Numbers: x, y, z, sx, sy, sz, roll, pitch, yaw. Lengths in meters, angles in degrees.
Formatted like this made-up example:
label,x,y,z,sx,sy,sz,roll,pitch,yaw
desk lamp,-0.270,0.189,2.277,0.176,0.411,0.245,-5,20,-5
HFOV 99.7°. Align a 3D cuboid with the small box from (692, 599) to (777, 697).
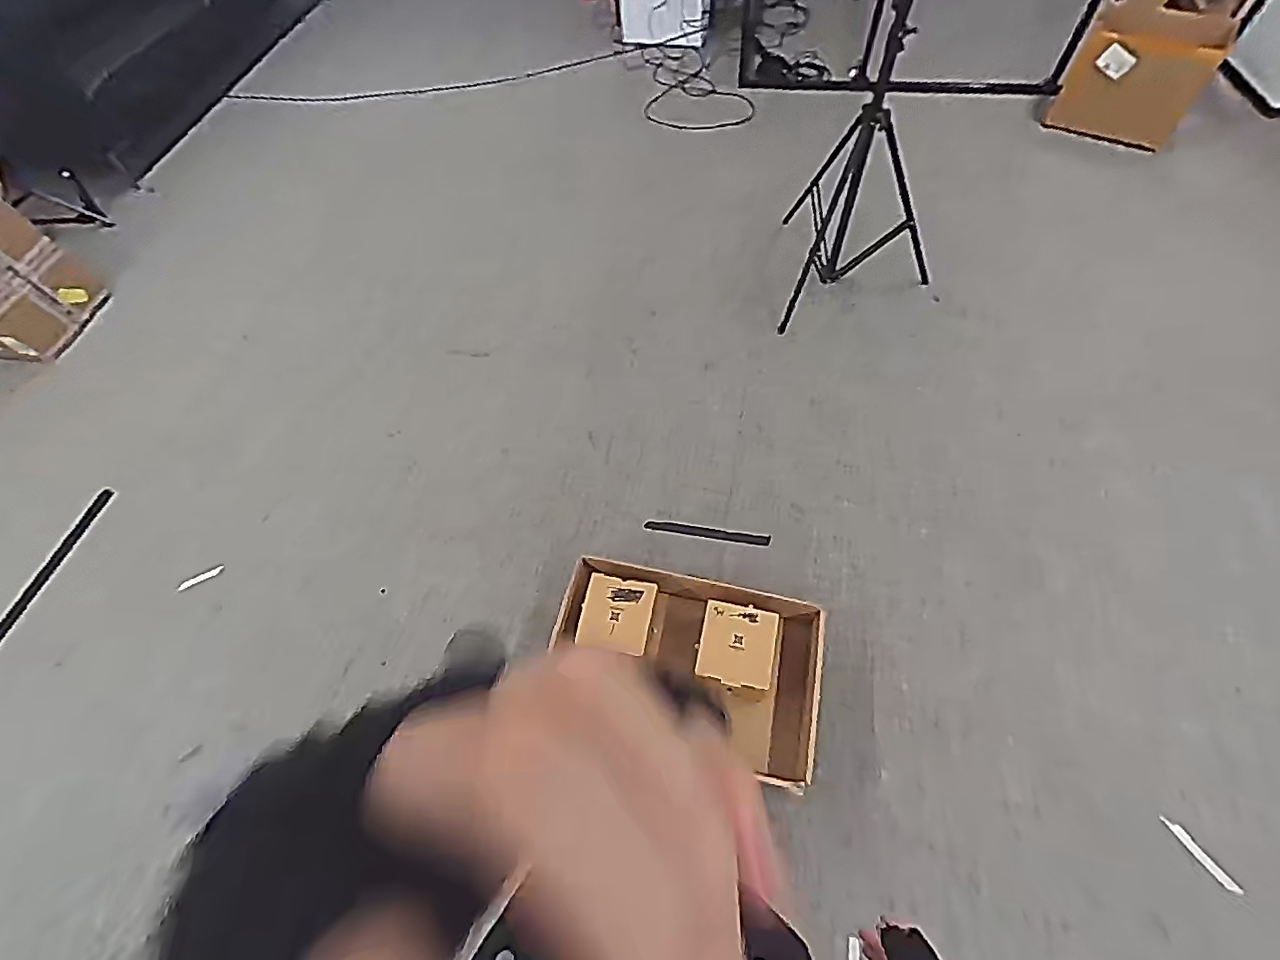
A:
label,x,y,z,sx,sy,sz,roll,pitch,yaw
small box,0.223,0.403,1.282,0.168,0.176,0.179,10,64,11
